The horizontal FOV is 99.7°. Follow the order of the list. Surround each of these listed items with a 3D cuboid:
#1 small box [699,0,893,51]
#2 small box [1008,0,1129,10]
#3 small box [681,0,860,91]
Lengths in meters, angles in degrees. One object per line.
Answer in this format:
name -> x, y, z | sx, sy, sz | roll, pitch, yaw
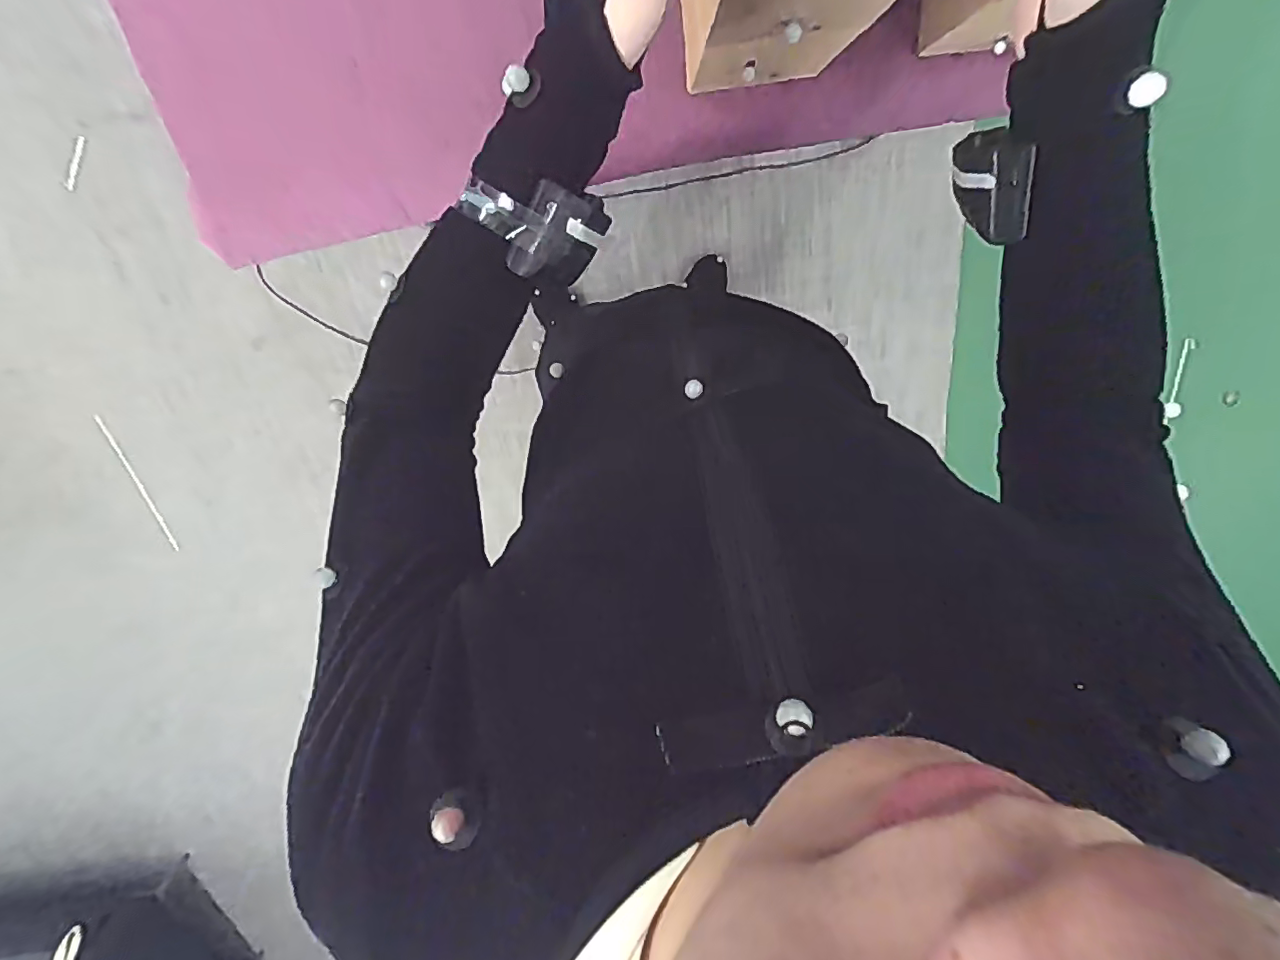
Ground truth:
small box -> 0.131, -0.479, 0.424 | 0.168, 0.176, 0.179 | -6, 113, 3
small box -> 0.412, -0.505, 0.409 | 0.168, 0.176, 0.179 | -4, 113, 3
small box -> 0.131, -0.541, 0.576 | 0.168, 0.176, 0.179 | -6, 112, 3
